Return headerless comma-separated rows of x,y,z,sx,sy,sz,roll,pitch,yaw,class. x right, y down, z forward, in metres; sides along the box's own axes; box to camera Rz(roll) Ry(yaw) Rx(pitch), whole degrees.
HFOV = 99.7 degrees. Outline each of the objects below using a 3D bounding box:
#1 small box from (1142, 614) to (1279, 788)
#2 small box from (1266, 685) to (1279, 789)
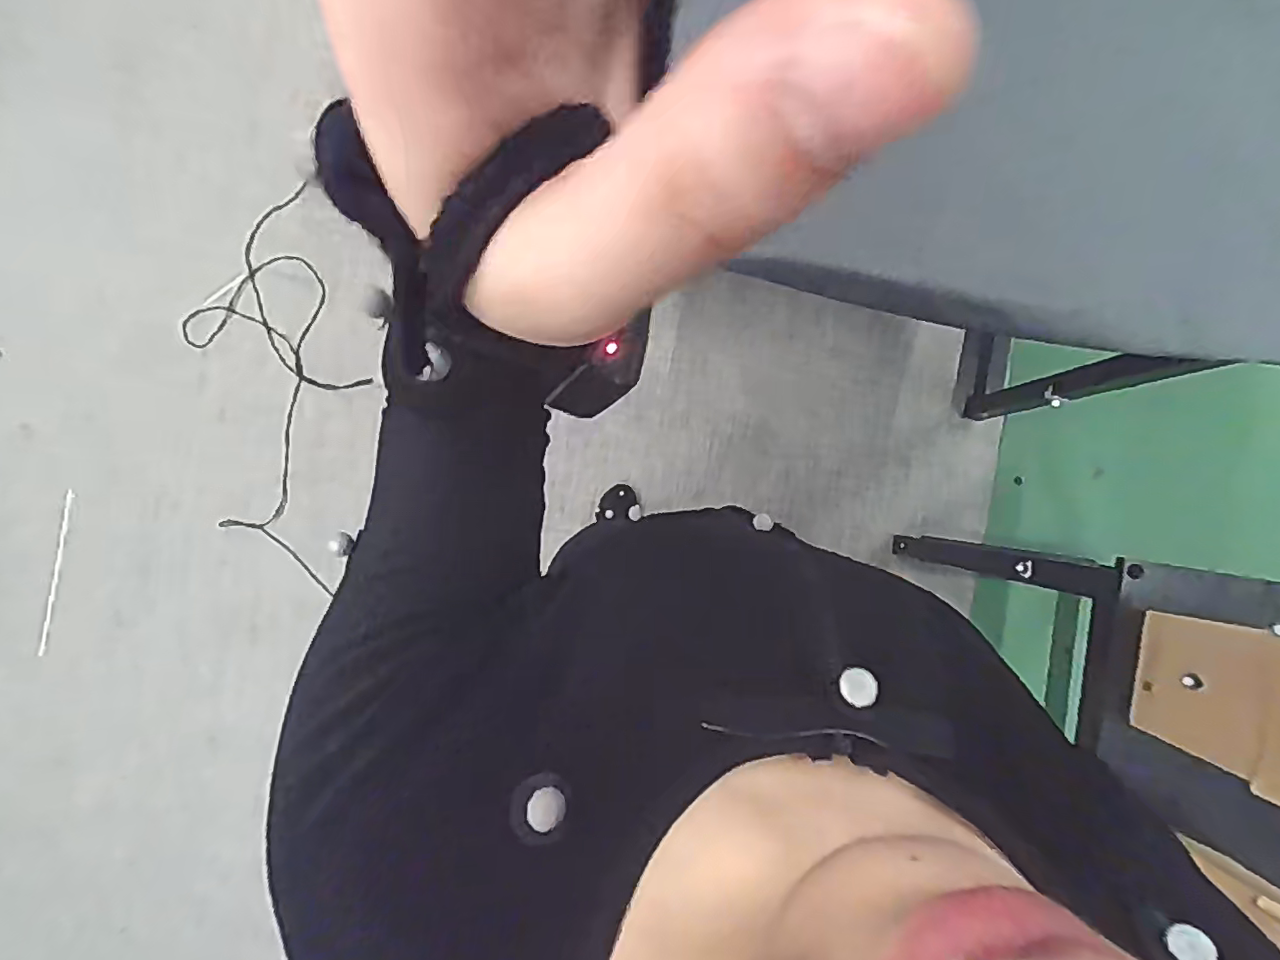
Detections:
0.789,0.274,0.672,0.179,0.176,0.168,10,90,1,small box
0.770,0.273,0.510,0.168,0.176,0.179,10,89,1,small box
